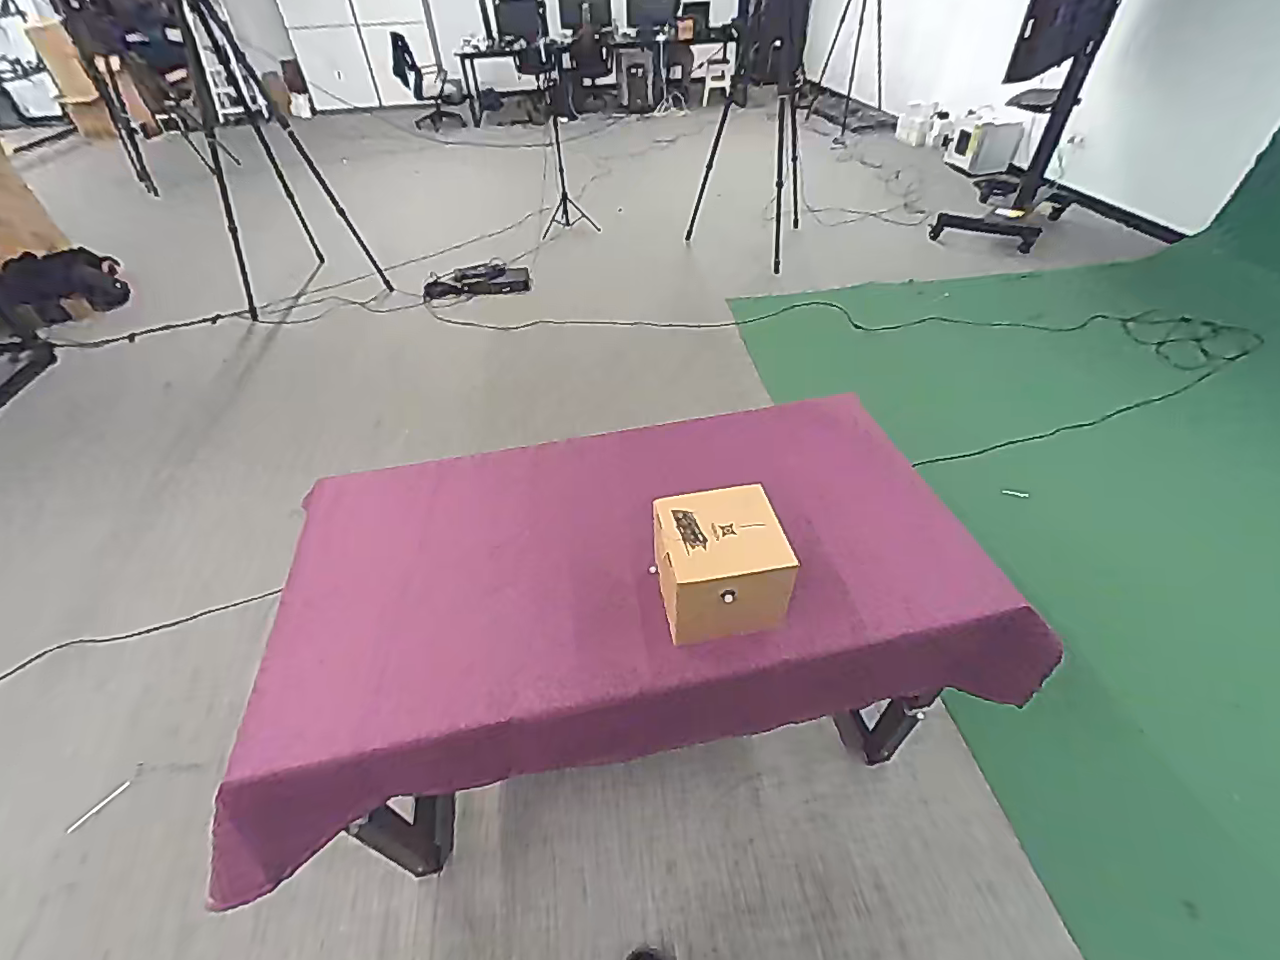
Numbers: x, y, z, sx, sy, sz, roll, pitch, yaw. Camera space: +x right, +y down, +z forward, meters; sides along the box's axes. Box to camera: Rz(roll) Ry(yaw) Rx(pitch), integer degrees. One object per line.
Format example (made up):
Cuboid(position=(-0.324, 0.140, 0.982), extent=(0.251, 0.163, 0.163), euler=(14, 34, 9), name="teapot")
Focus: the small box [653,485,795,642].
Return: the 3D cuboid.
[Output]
Cuboid(position=(0.122, 0.134, 0.848), extent=(0.179, 0.176, 0.168), euler=(-8, 44, -6), name="small box")
